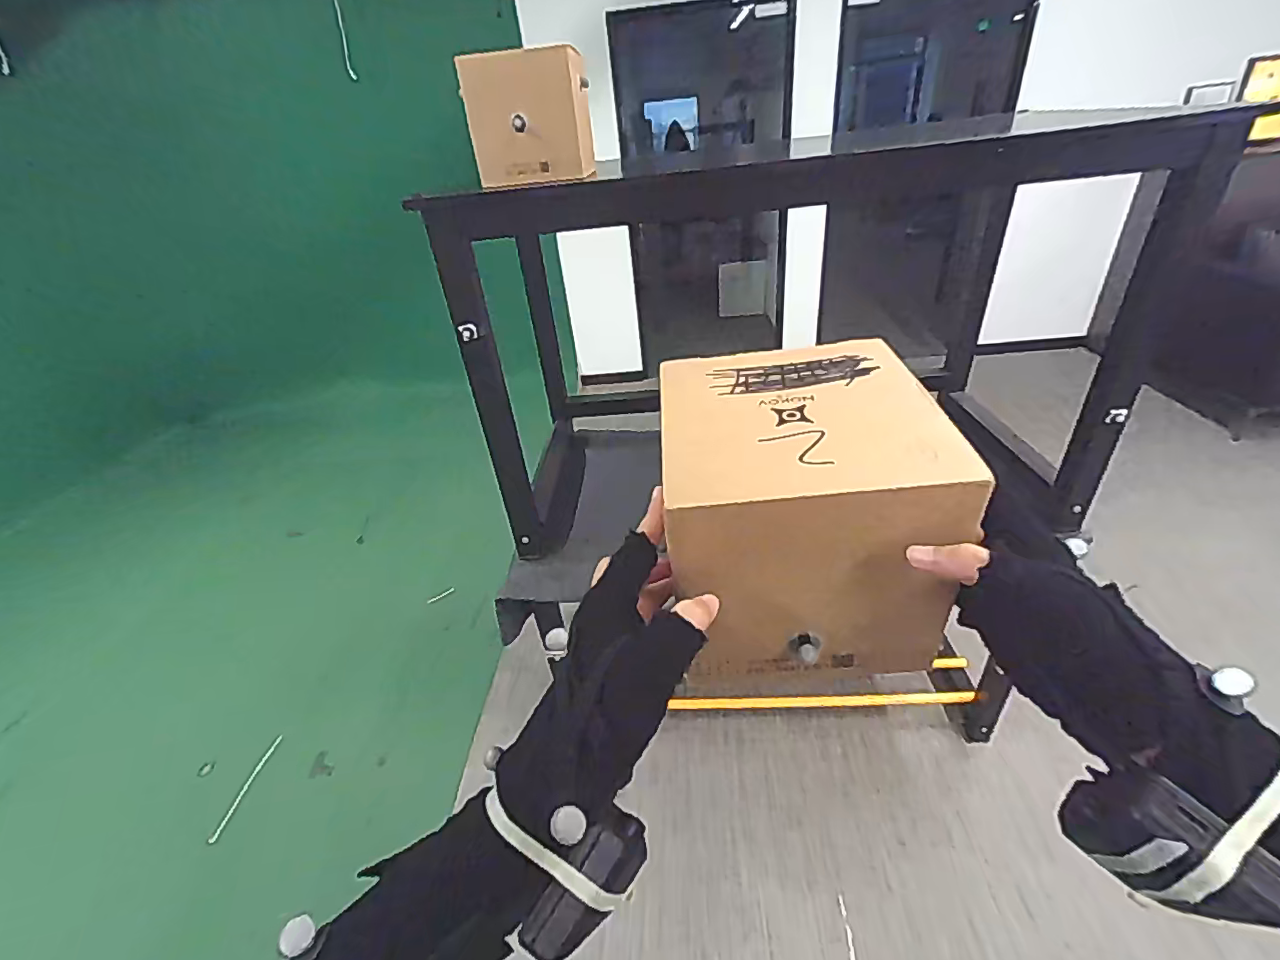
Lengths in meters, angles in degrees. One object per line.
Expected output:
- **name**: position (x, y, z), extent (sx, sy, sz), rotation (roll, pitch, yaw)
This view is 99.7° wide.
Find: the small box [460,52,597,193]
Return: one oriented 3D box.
- **small box**: position (-0.167, -0.569, 0.878), extent (0.168, 0.176, 0.179), rotation (-3, 32, 5)
